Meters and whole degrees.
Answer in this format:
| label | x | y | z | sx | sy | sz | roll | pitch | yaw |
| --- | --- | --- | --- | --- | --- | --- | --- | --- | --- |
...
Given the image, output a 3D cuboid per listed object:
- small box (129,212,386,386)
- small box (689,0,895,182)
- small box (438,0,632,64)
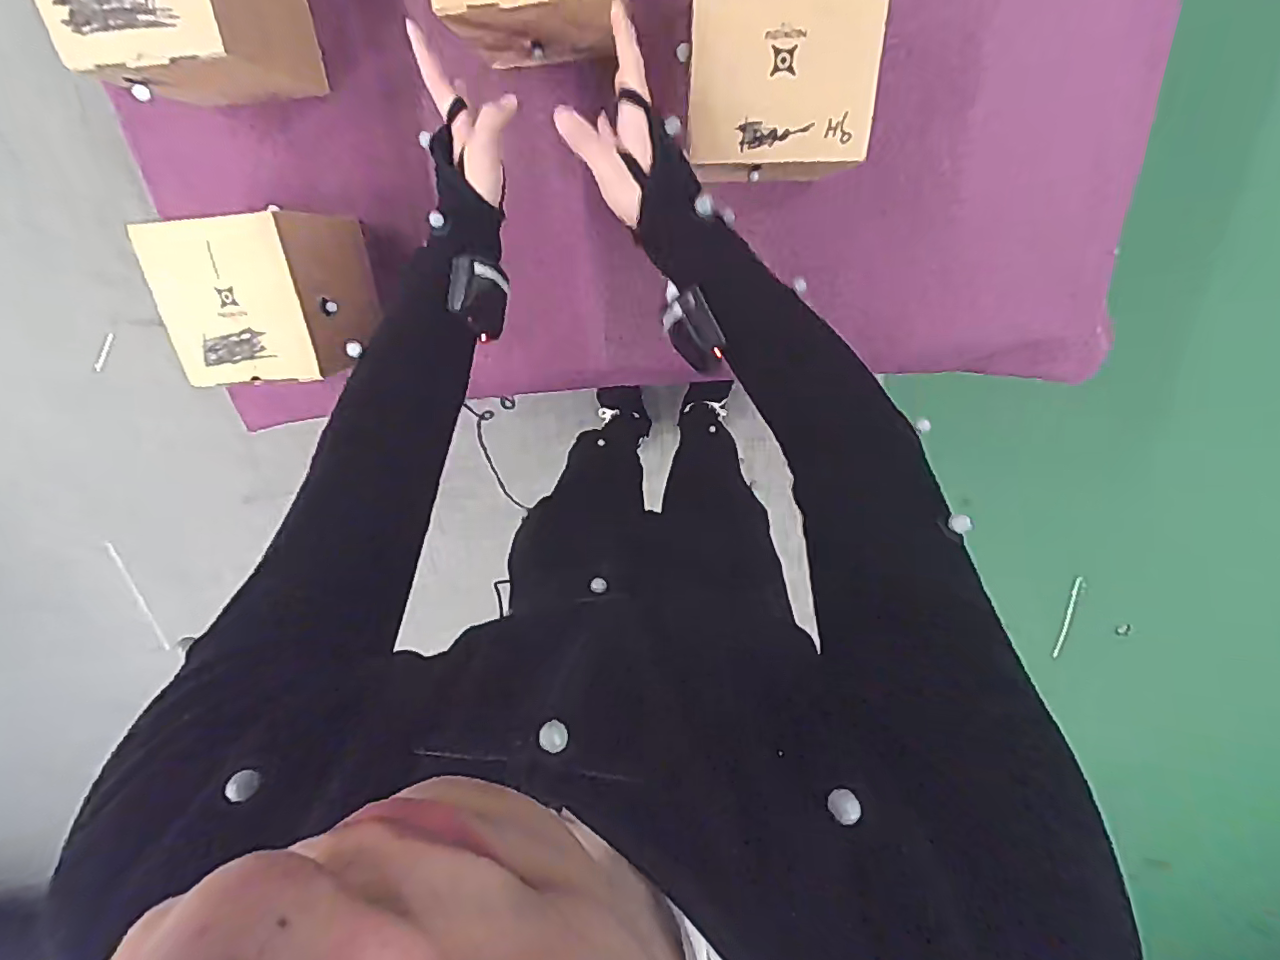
| label | x | y | z | sx | sy | sz | roll | pitch | yaw |
| --- | --- | --- | --- | --- | --- | --- | --- | --- | --- |
| small box | -0.440 | -0.223 | 0.661 | 0.168 | 0.176 | 0.179 | -3 | 113 | 4 |
| small box | 0.136 | -0.409 | 0.543 | 0.168 | 0.176 | 0.179 | 1 | 114 | 3 |
| small box | -0.098 | -0.527 | 0.507 | 0.168 | 0.176 | 0.179 | -3 | 115 | 4 |
